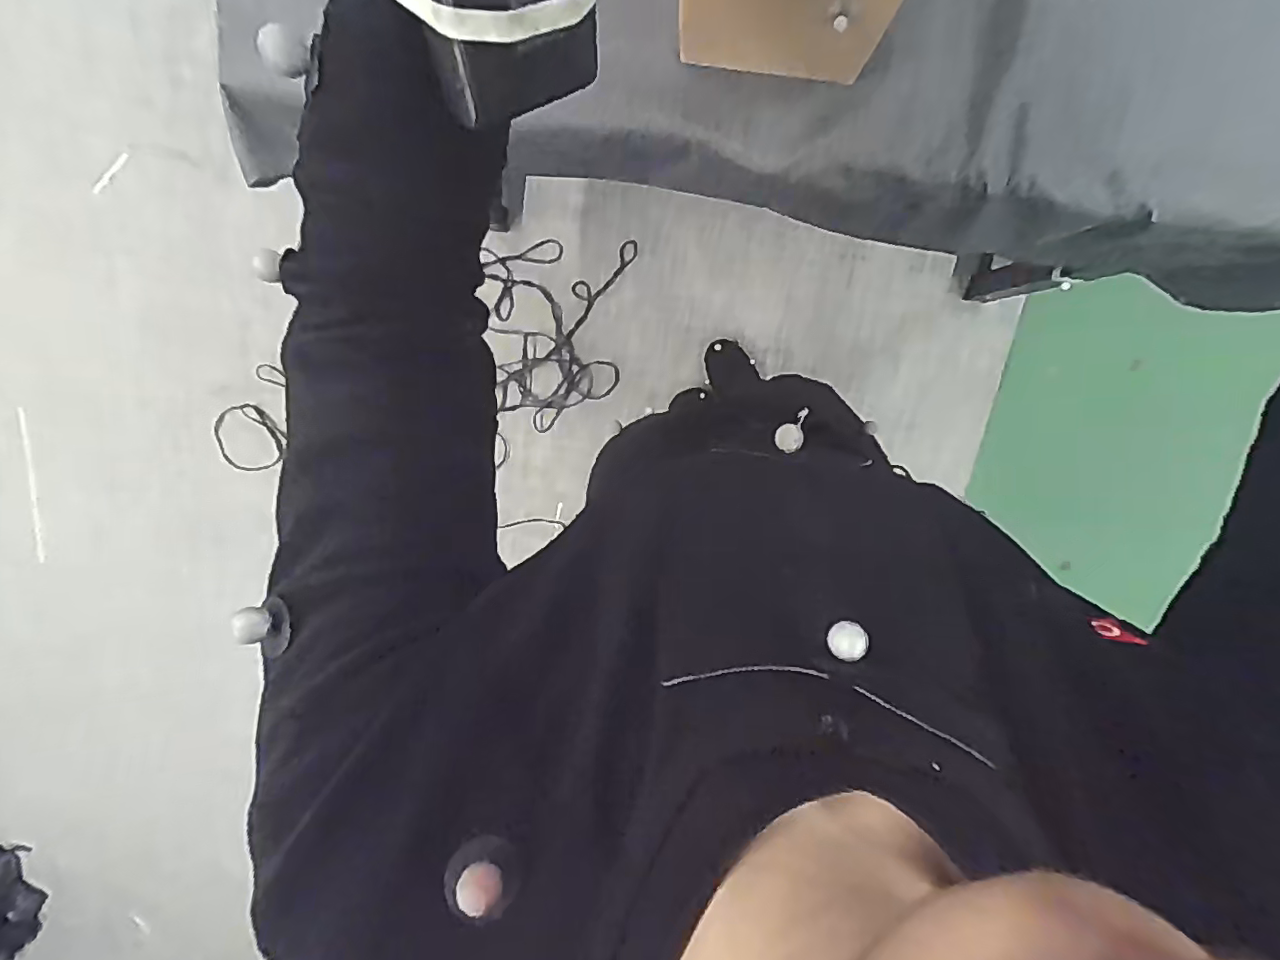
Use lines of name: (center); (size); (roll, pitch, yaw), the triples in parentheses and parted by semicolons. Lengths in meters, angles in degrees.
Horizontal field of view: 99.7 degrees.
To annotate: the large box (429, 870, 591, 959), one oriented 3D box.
large box: (-0.390, 1.434, 1.568); (0.408, 0.320, 0.320); (16, 103, 3)
